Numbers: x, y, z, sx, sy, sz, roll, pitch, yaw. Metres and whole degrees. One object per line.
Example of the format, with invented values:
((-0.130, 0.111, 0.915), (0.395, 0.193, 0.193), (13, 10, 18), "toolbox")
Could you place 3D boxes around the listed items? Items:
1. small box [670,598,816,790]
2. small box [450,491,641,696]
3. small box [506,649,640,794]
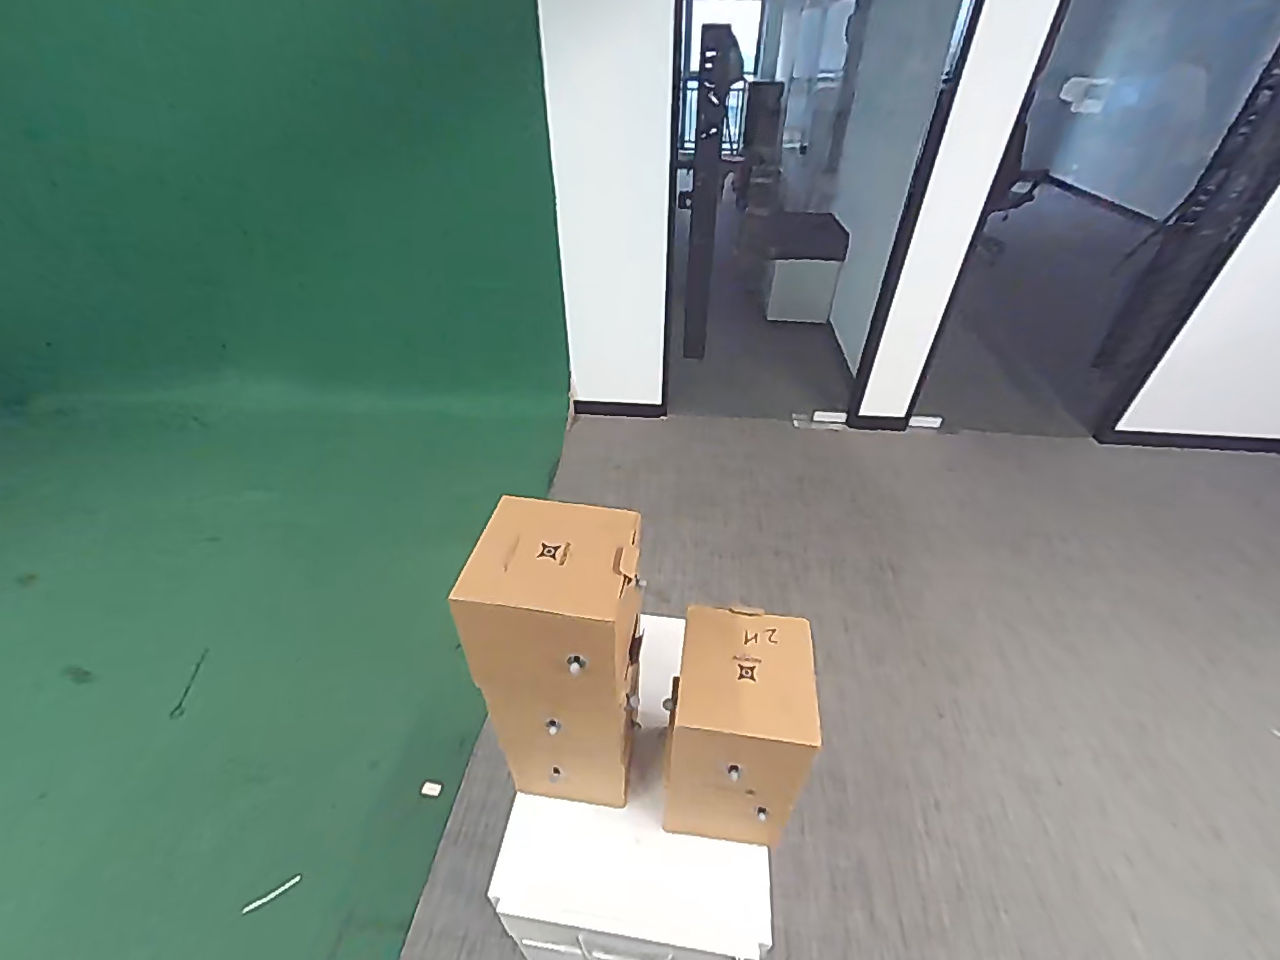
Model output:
((0.132, 0.287, 0.727), (0.168, 0.176, 0.179), (6, 40, 6), "small box")
((-0.098, 0.137, 0.649), (0.179, 0.176, 0.168), (6, 39, 6), "small box")
((-0.097, 0.381, 0.869), (0.179, 0.176, 0.168), (6, 41, 4), "small box")
